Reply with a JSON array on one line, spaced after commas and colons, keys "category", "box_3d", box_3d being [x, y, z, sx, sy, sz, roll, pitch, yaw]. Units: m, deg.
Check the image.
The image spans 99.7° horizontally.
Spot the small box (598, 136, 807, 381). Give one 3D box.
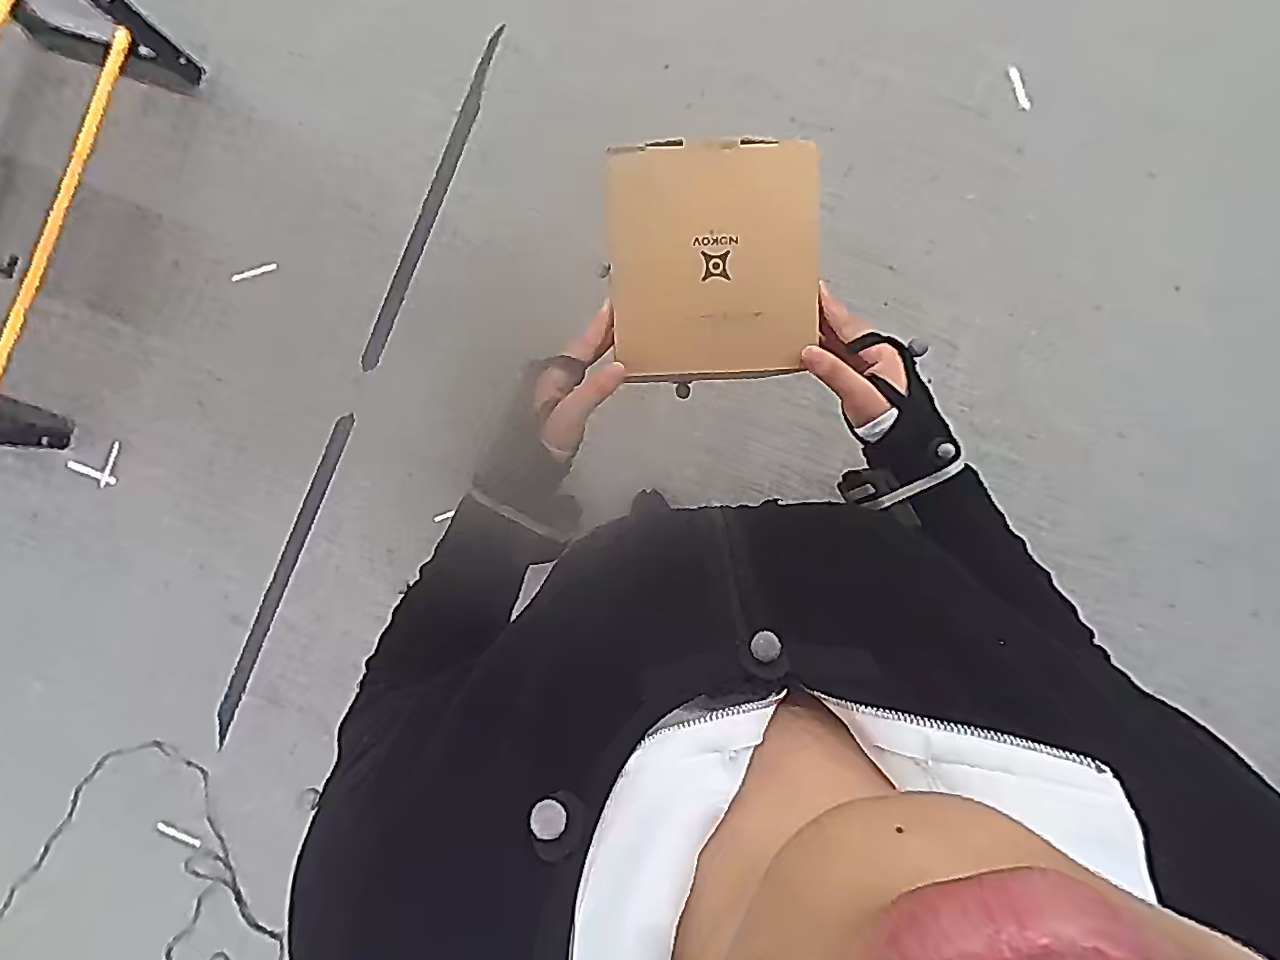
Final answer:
[{"category": "small box", "box_3d": [0.046, -0.187, 0.505, 0.168, 0.176, 0.179, -3, 98, -2]}]
